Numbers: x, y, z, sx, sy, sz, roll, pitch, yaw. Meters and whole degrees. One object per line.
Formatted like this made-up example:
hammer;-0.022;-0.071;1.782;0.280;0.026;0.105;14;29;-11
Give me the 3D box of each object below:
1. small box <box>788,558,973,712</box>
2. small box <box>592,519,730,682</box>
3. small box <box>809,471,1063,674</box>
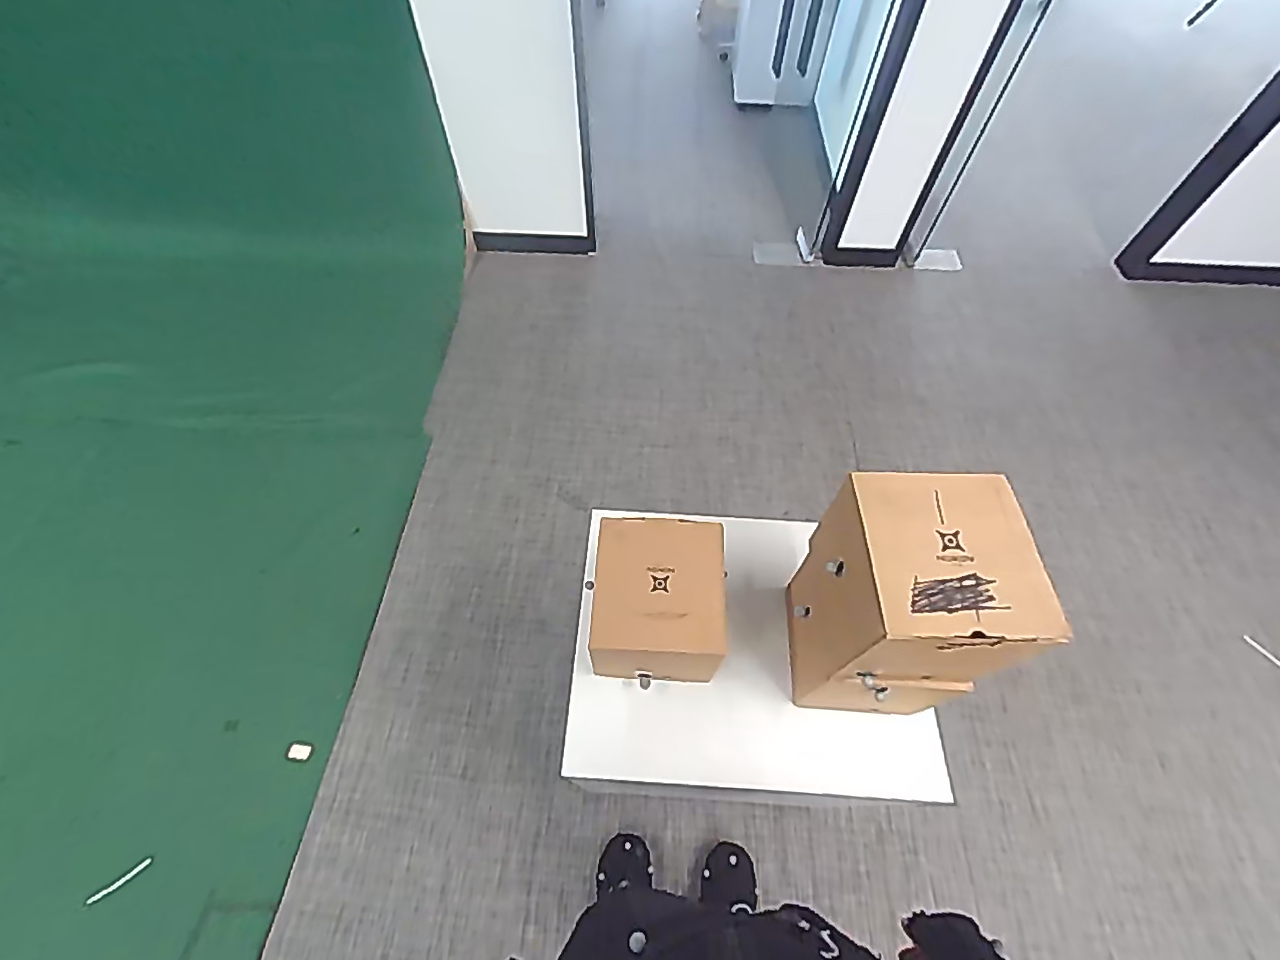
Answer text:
small box;0.302;0.199;0.725;0.168;0.176;0.179;3;58;3
small box;0.027;0.170;0.745;0.168;0.176;0.179;1;60;1
small box;0.296;0.107;0.589;0.168;0.176;0.179;0;58;1
